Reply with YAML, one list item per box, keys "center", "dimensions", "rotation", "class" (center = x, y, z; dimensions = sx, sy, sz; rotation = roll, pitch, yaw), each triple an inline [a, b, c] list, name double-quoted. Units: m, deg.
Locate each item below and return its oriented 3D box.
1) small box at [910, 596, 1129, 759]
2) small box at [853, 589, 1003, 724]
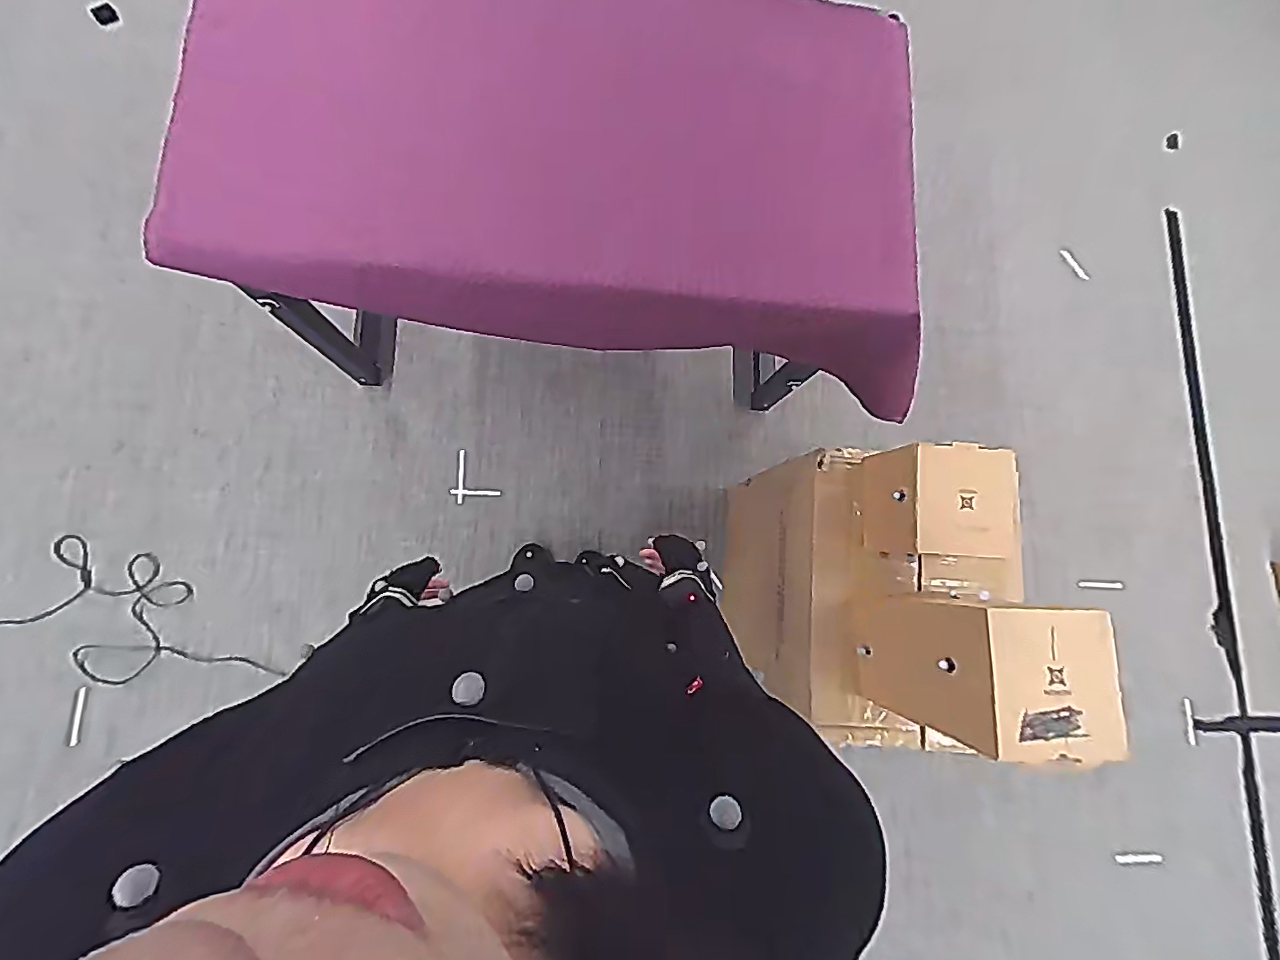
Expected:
- center: [0.485, 0.250, 0.717]
  dimensions: [0.168, 0.176, 0.179]
  rotation: [3, 80, -5]
  class: "small box"
- center: [0.470, 0.276, 0.879]
  dimensions: [0.168, 0.176, 0.179]
  rotation: [-3, 82, -6]
  class: "small box"
